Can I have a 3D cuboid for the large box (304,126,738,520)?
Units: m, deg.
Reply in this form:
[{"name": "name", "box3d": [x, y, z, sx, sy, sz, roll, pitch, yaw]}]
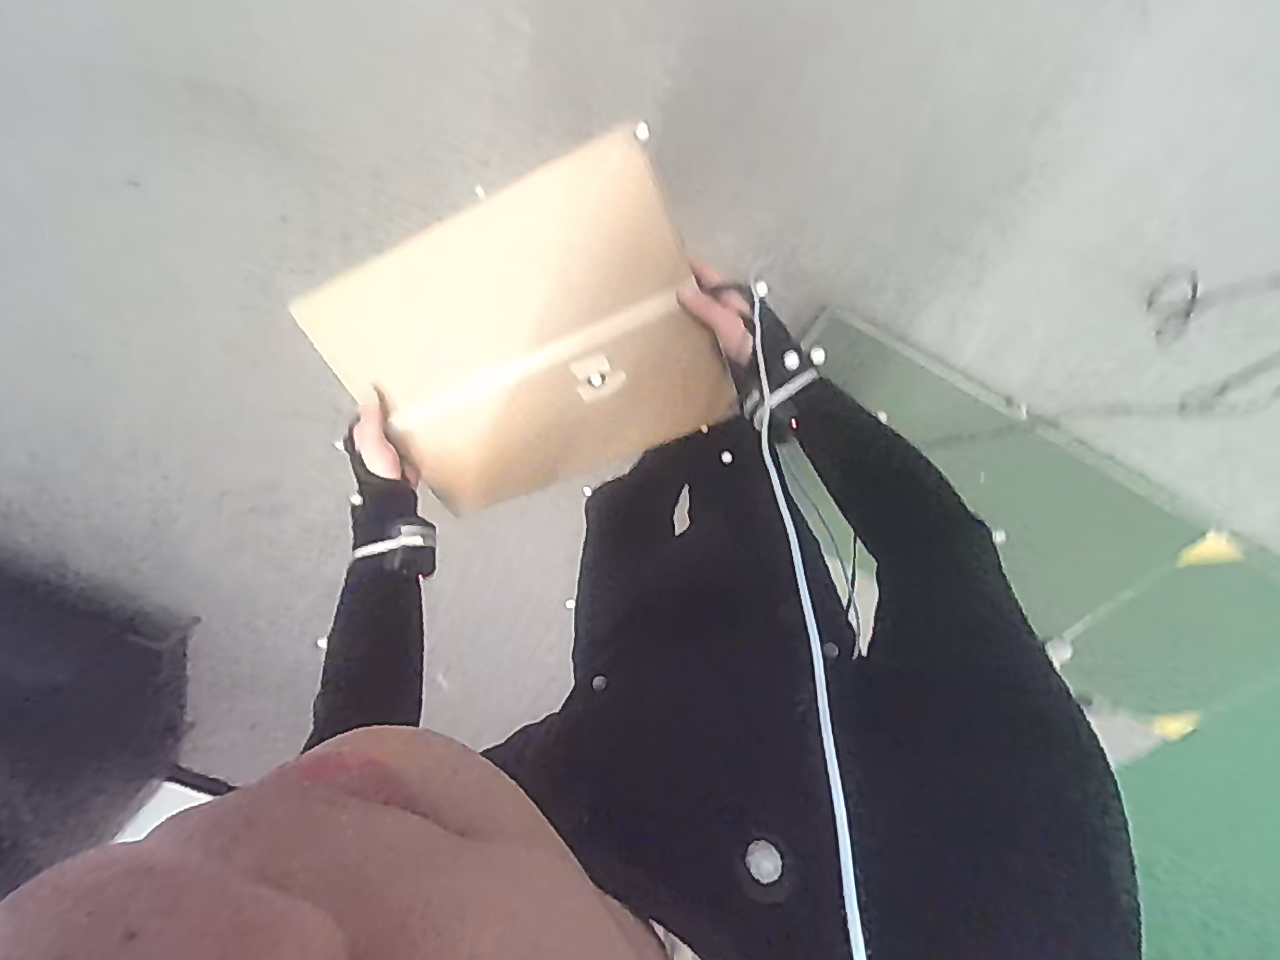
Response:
[{"name": "large box", "box3d": [-0.126, -0.211, 0.735, 0.408, 0.320, 0.320, -21, 120, 13]}]
